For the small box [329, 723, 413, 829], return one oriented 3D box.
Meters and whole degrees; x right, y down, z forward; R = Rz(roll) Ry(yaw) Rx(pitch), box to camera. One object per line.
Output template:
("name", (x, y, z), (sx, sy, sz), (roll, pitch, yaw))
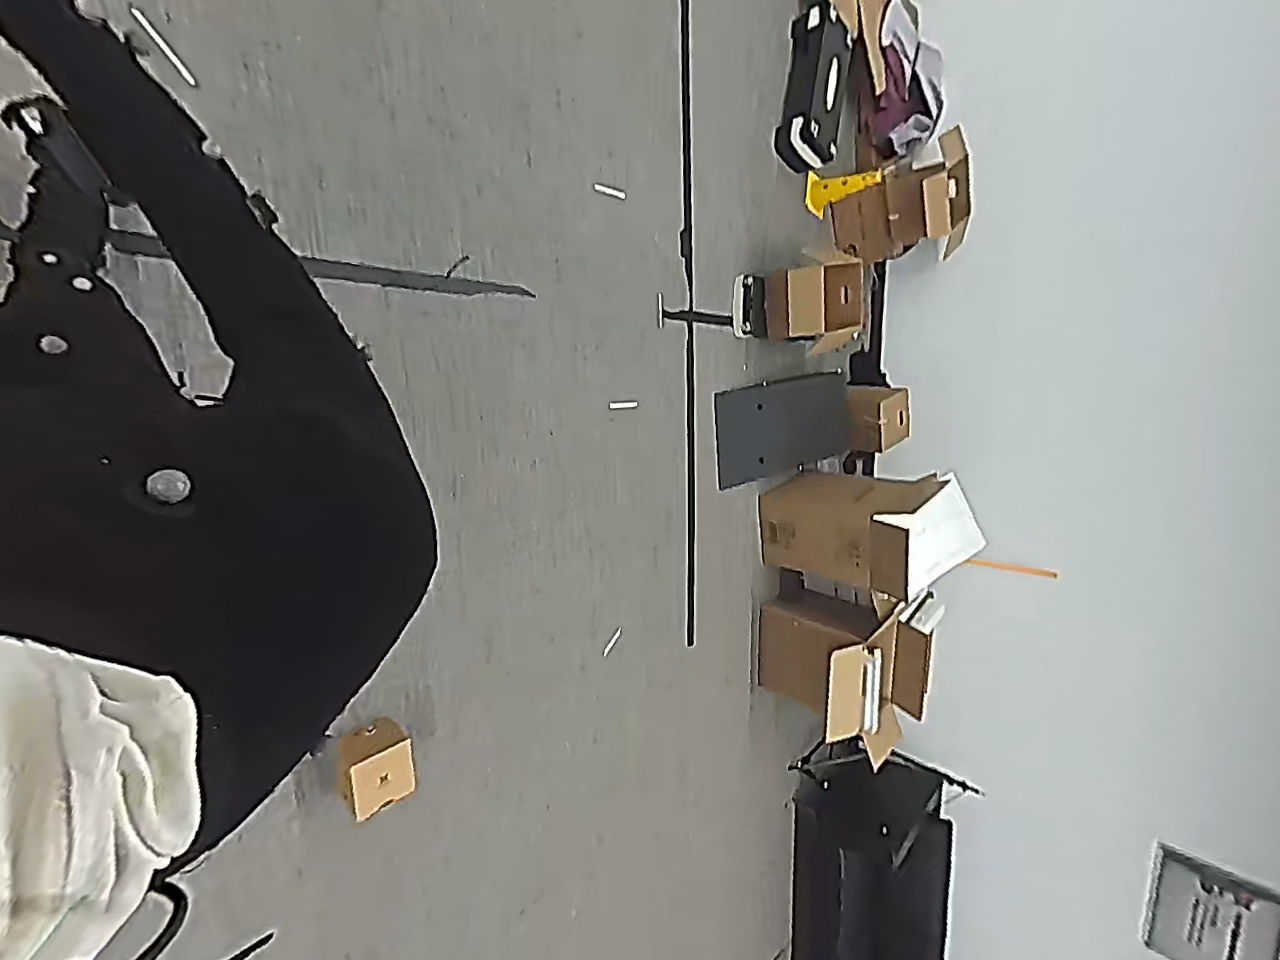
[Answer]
("small box", (-0.777, 0.843, 1.560), (0.168, 0.176, 0.179), (-12, 105, -45))
